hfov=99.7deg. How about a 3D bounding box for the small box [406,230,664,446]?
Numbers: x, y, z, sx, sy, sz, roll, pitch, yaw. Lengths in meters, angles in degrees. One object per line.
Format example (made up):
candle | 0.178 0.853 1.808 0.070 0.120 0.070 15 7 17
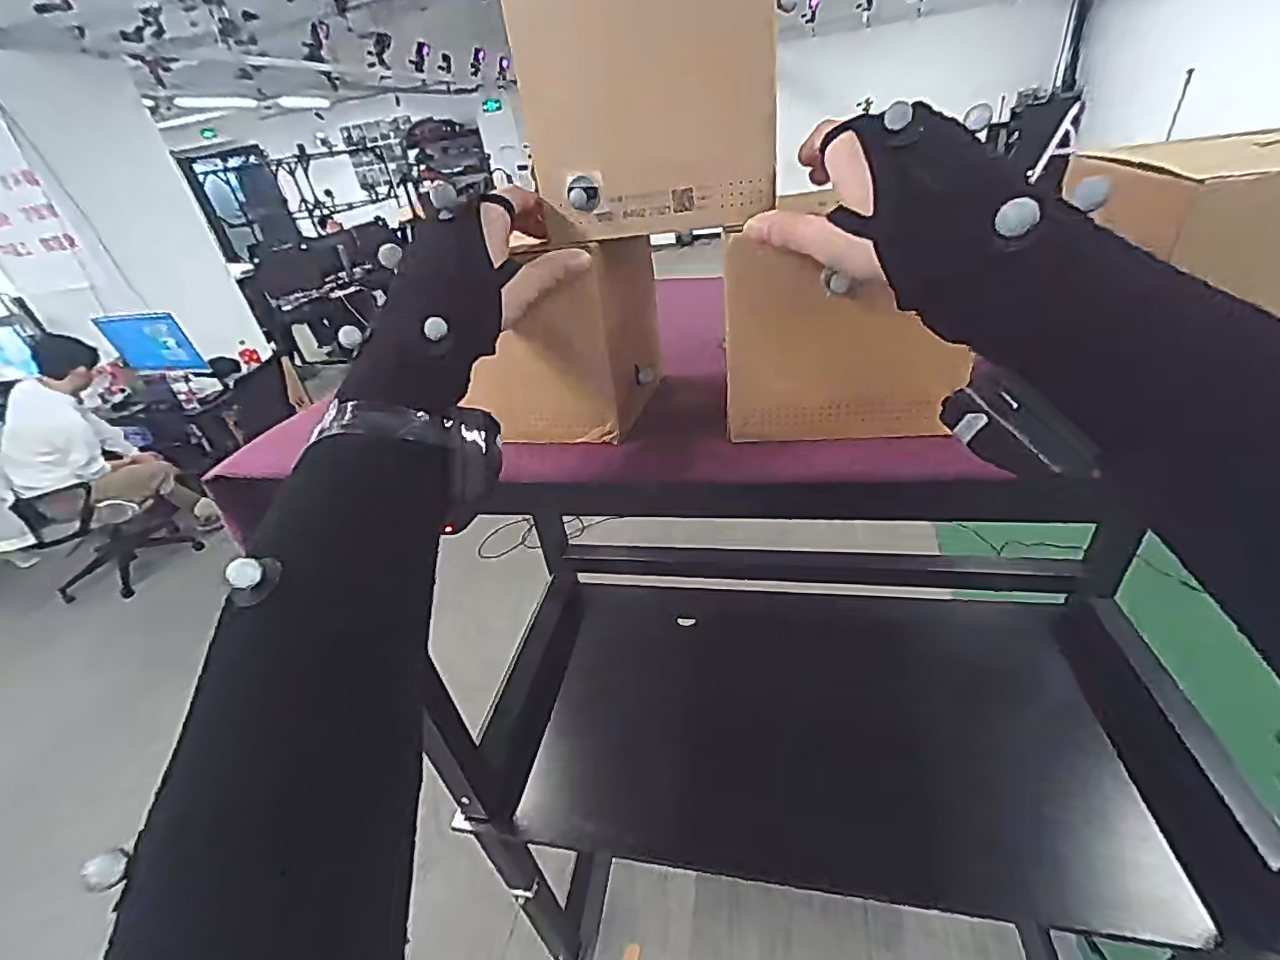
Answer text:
small box | -0.084 -0.144 0.531 0.179 0.176 0.168 3 33 17

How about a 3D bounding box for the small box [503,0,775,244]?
small box | 0.020 -0.290 0.426 0.168 0.176 0.179 0 31 14
